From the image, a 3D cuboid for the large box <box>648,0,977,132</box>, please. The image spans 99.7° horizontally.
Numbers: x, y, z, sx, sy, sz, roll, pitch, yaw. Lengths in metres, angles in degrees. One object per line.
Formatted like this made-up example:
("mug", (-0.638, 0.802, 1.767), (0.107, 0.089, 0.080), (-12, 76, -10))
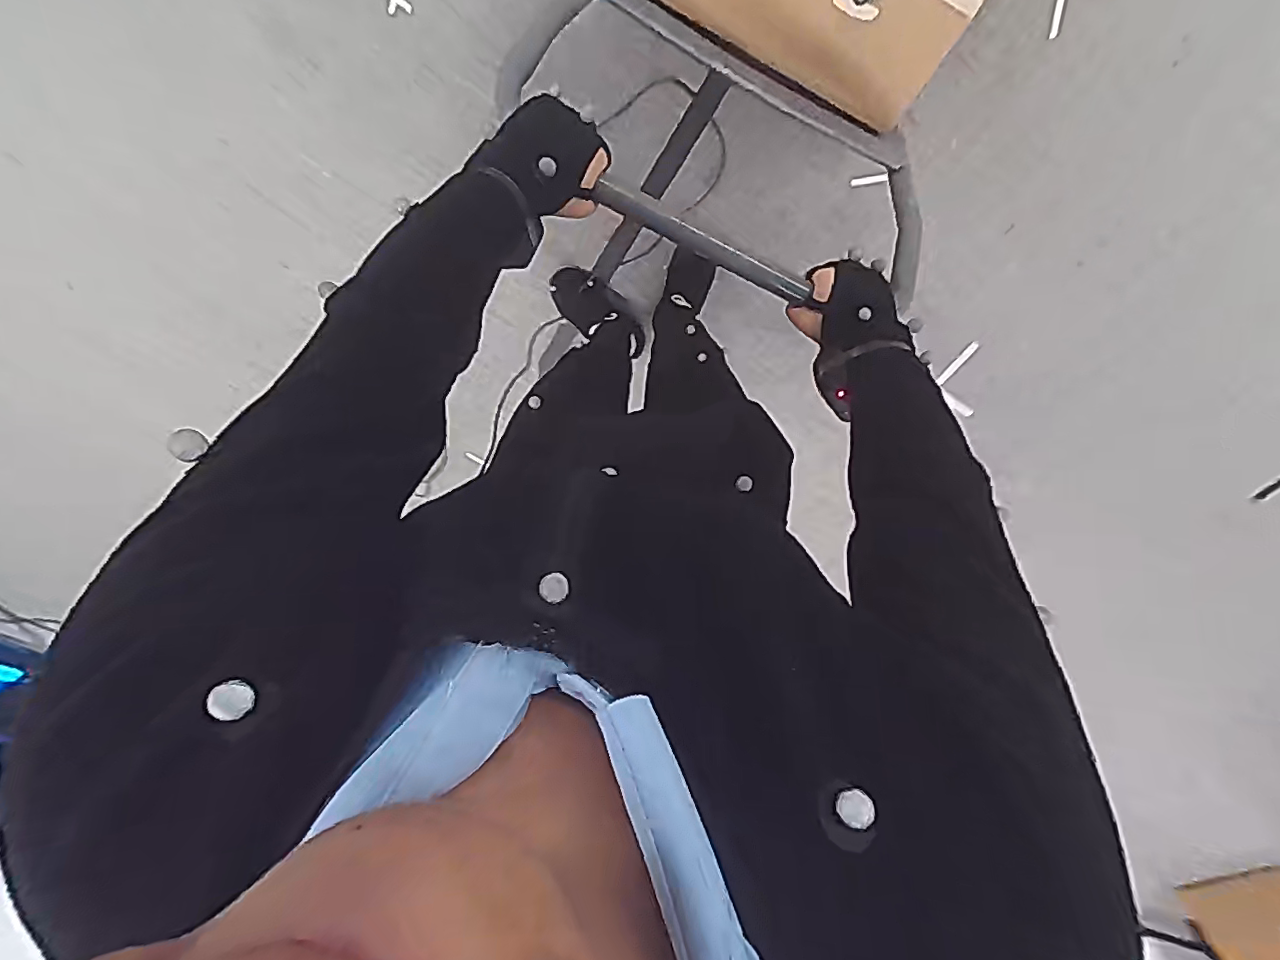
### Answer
("large box", (0.259, -0.774, 0.742), (0.408, 0.320, 0.320), (22, 139, -11))
